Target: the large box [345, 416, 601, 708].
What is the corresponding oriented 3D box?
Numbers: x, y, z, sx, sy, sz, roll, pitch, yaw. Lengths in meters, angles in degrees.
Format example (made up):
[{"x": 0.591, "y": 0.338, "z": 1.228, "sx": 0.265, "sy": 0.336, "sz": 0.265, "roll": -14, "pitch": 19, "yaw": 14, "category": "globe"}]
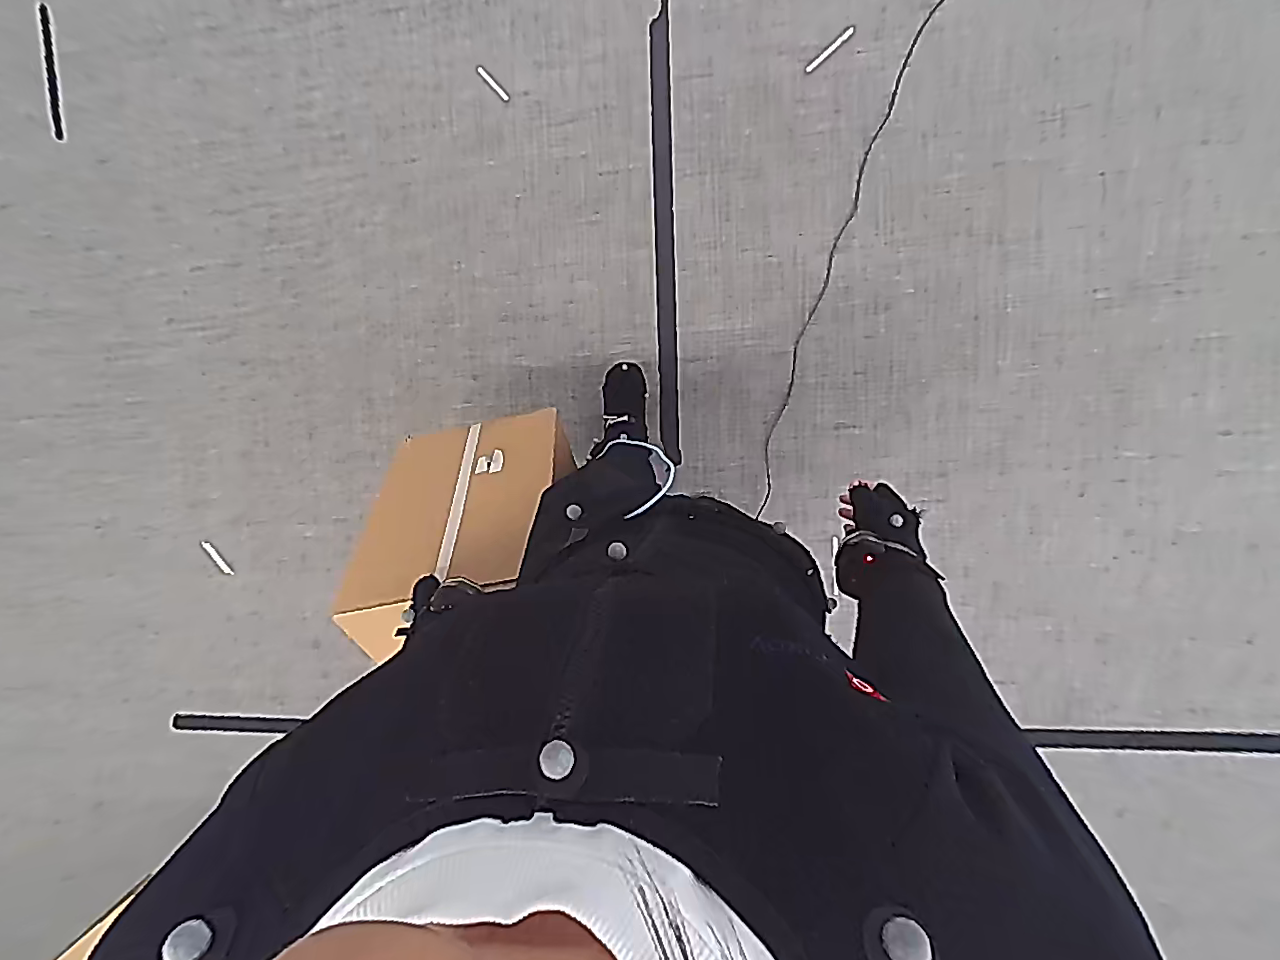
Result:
[{"x": -0.262, "y": 0.142, "z": 1.006, "sx": 0.320, "sy": 0.408, "sz": 0.320, "roll": -11, "pitch": 130, "yaw": 4, "category": "large box"}]
